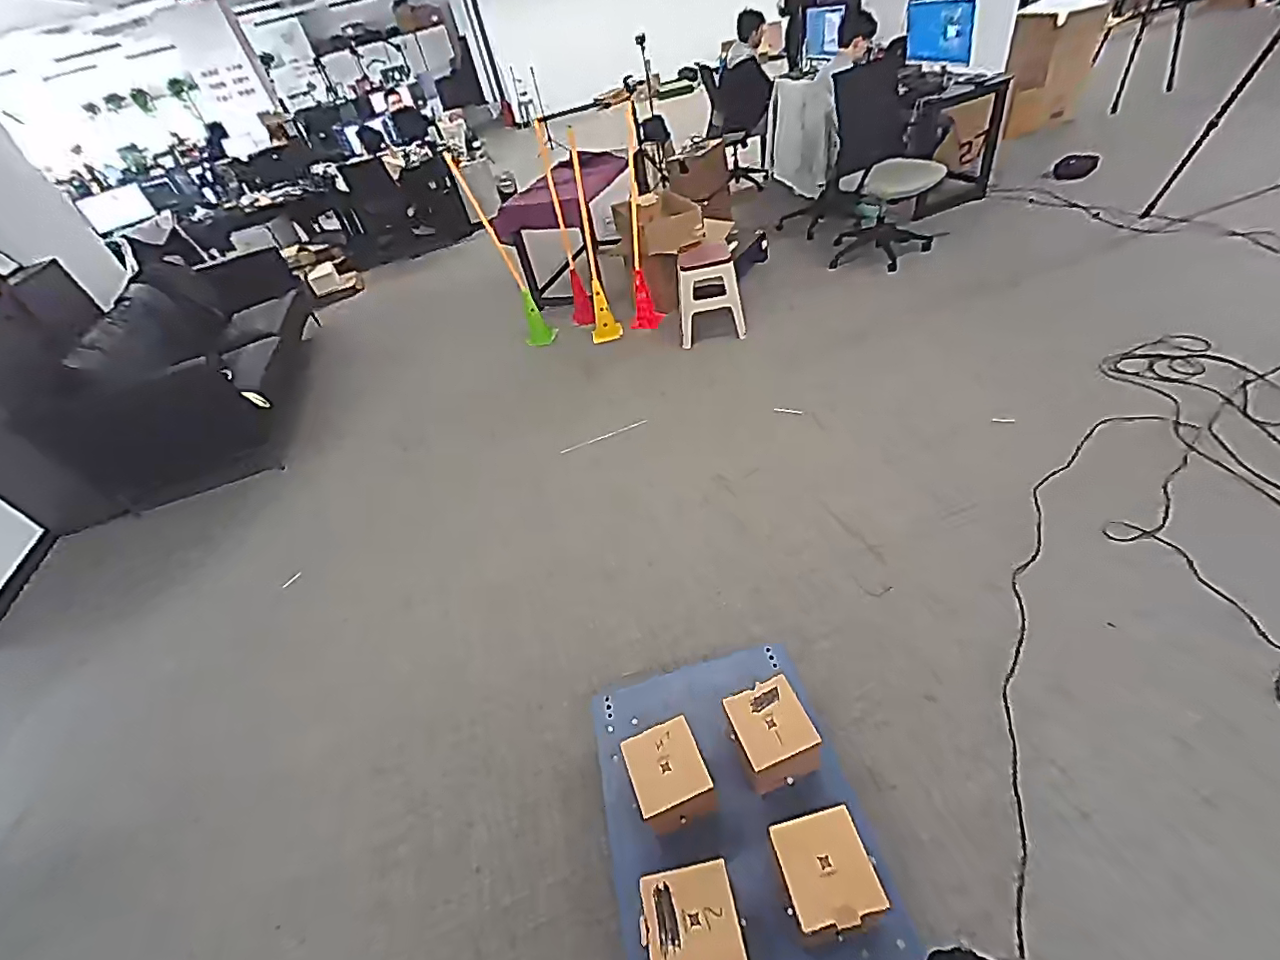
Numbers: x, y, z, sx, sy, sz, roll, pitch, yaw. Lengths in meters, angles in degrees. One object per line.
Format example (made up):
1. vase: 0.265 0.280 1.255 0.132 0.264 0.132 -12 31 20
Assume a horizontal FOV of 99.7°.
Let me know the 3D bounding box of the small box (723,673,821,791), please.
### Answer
1. small box: 0.312 0.606 1.301 0.168 0.176 0.179 -21 43 -7

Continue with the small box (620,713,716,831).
1. small box: 0.070 0.693 1.272 0.168 0.176 0.179 -20 42 -8

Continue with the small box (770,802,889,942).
1. small box: 0.369 0.789 1.089 0.168 0.176 0.179 -15 42 -2
